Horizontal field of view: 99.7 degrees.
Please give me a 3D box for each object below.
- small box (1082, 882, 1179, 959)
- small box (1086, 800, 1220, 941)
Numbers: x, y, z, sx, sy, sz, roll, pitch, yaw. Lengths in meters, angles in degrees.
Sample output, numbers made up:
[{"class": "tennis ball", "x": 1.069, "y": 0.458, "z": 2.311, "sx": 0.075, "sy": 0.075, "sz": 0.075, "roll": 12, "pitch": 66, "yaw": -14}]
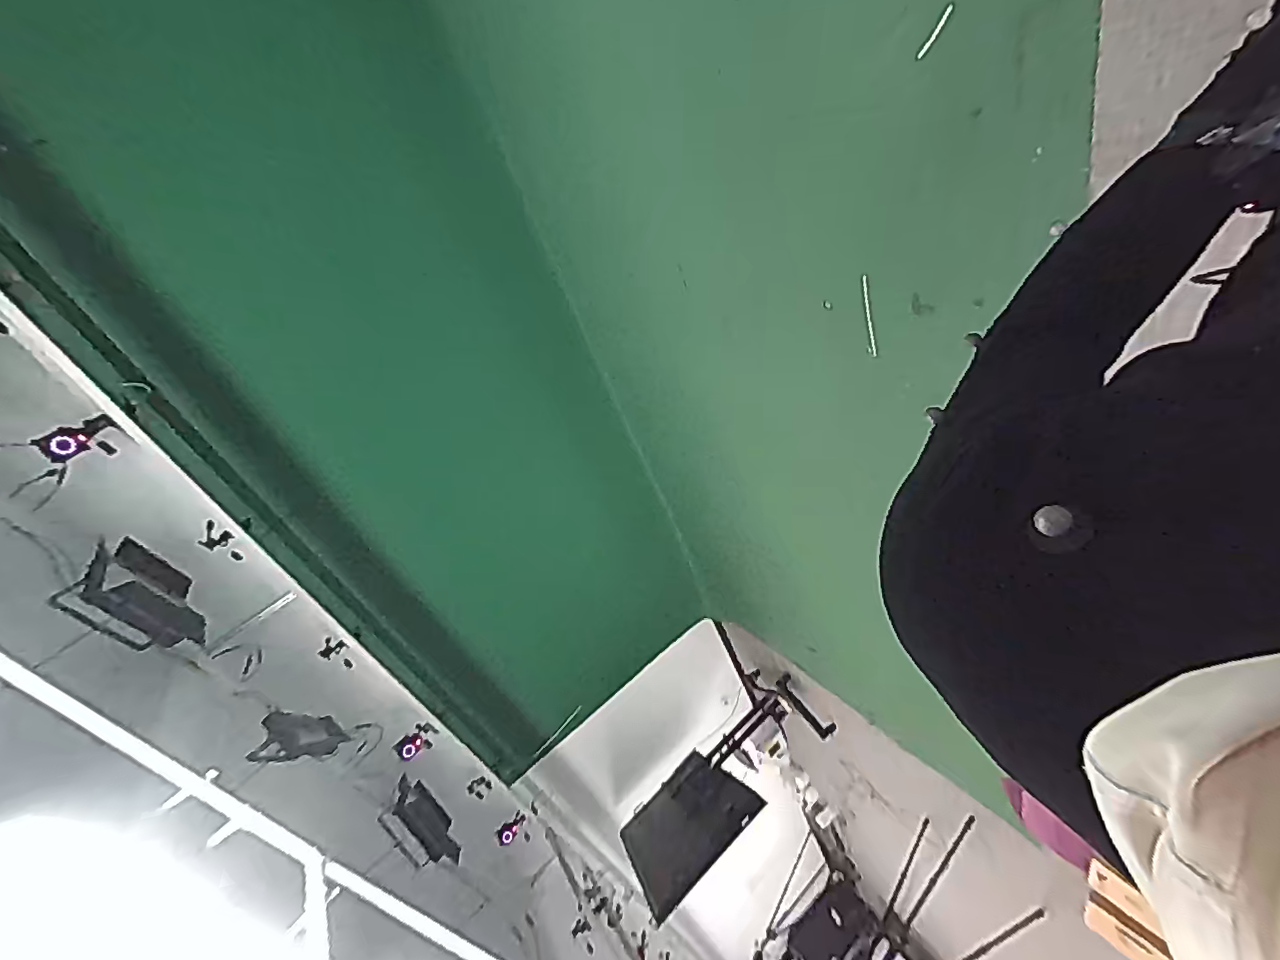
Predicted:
[{"class": "small box", "x": 1.268, "y": 1.083, "z": 1.375, "sx": 0.168, "sy": 0.176, "sz": 0.179, "roll": 28, "pitch": 150, "yaw": 53}, {"class": "small box", "x": 1.175, "y": 0.890, "z": 1.243, "sx": 0.179, "sy": 0.176, "sz": 0.168, "roll": 28, "pitch": 150, "yaw": 52}]
